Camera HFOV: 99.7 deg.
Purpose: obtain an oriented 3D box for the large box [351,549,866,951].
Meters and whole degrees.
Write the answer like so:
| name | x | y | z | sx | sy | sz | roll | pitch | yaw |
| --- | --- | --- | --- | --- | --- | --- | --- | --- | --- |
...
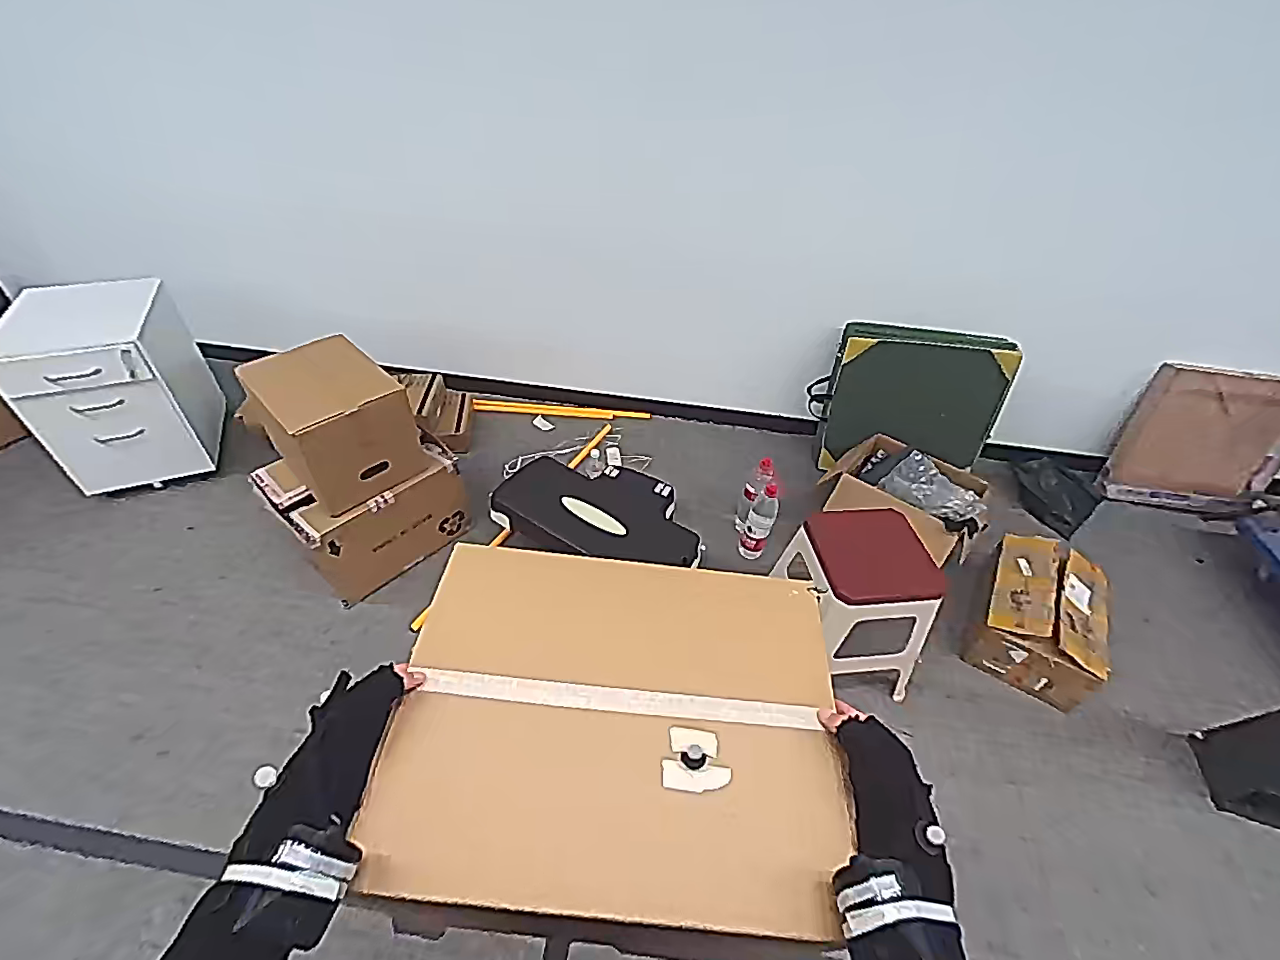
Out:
| name | x | y | z | sx | sy | sz | roll | pitch | yaw |
| --- | --- | --- | --- | --- | --- | --- | --- | --- | --- |
| large box | -0.028 | 0.309 | 0.616 | 0.408 | 0.320 | 0.320 | 7 | 47 | -1 |
